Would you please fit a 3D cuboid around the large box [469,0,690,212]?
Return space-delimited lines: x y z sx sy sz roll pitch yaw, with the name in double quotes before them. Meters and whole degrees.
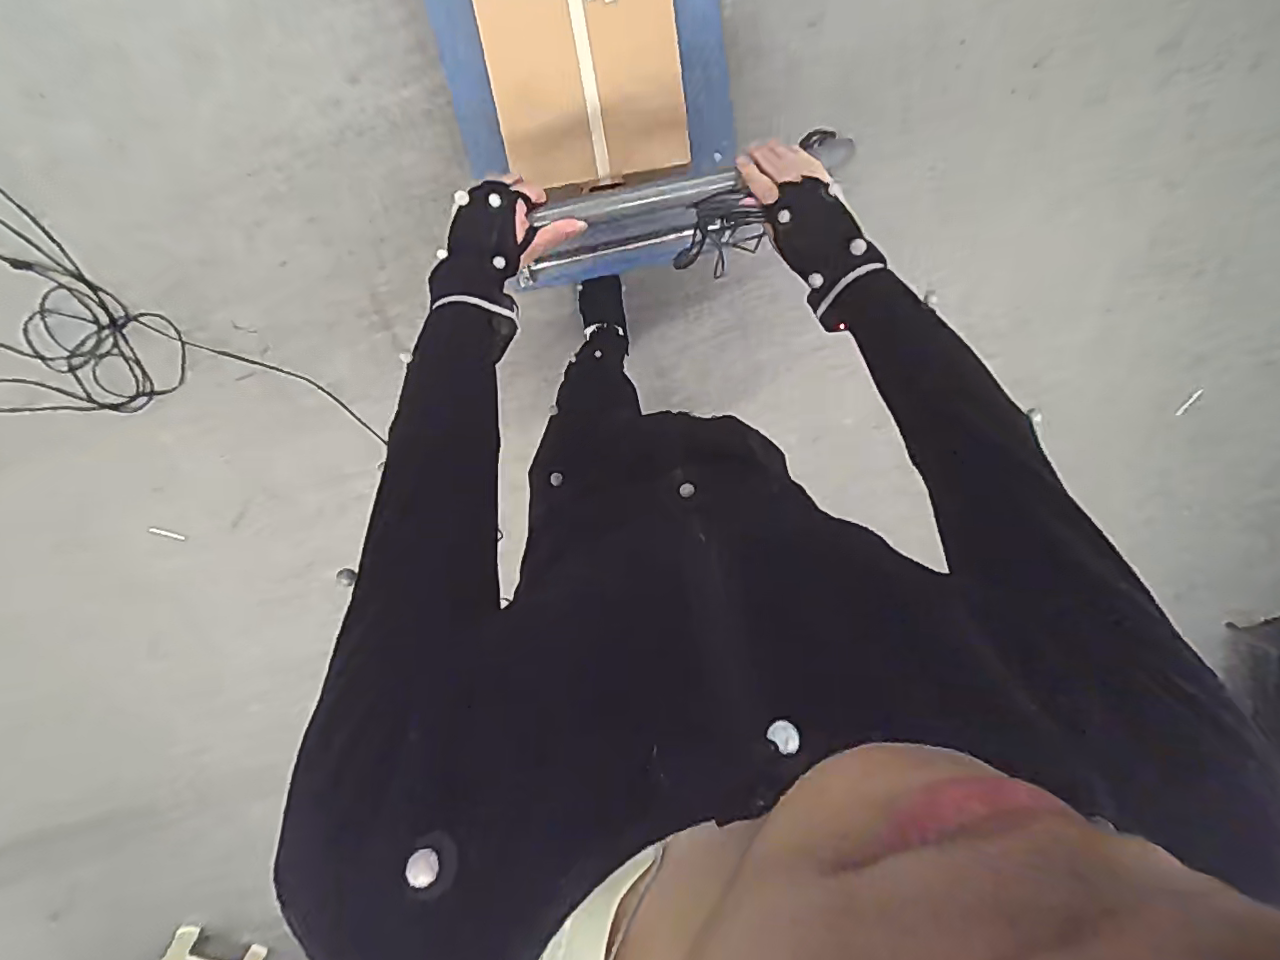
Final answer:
"large box" -0.109 -0.754 0.993 0.320 0.320 0.408 -11 110 -1
